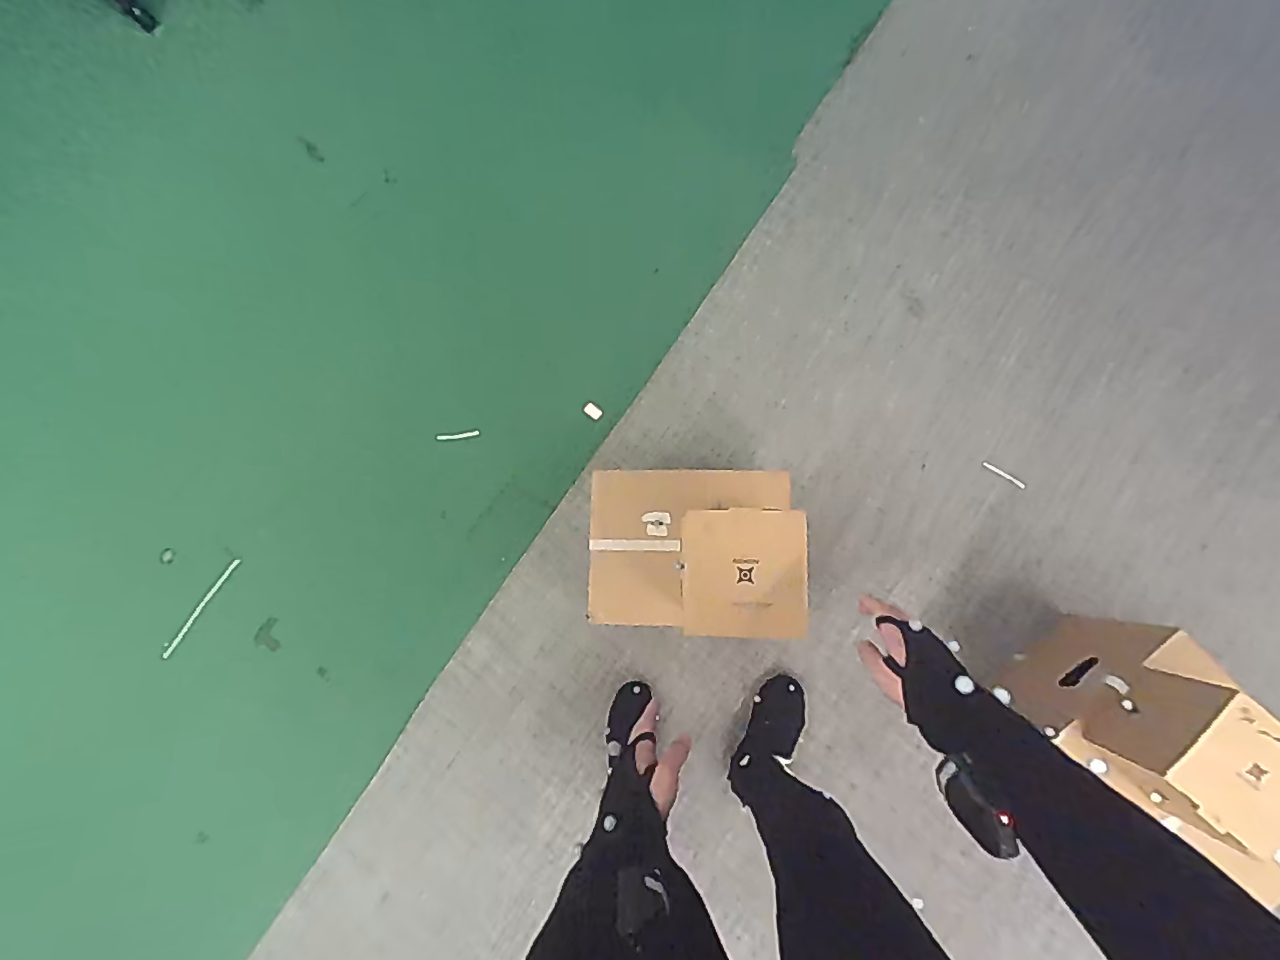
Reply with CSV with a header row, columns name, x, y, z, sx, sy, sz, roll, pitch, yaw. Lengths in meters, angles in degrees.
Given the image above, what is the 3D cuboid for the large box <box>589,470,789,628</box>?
name,x,y,z,sx,sy,sz,roll,pitch,yaw
large box,0.115,0.159,1.218,0.408,0.320,0.320,0,80,6

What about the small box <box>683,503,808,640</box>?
name,x,y,z,sx,sy,sz,roll,pitch,yaw
small box,0.149,0.133,0.803,0.168,0.176,0.179,1,82,6

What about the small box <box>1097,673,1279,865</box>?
name,x,y,z,sx,sy,sz,roll,pitch,yaw
small box,0.882,0.436,0.851,0.168,0.176,0.179,44,88,10
